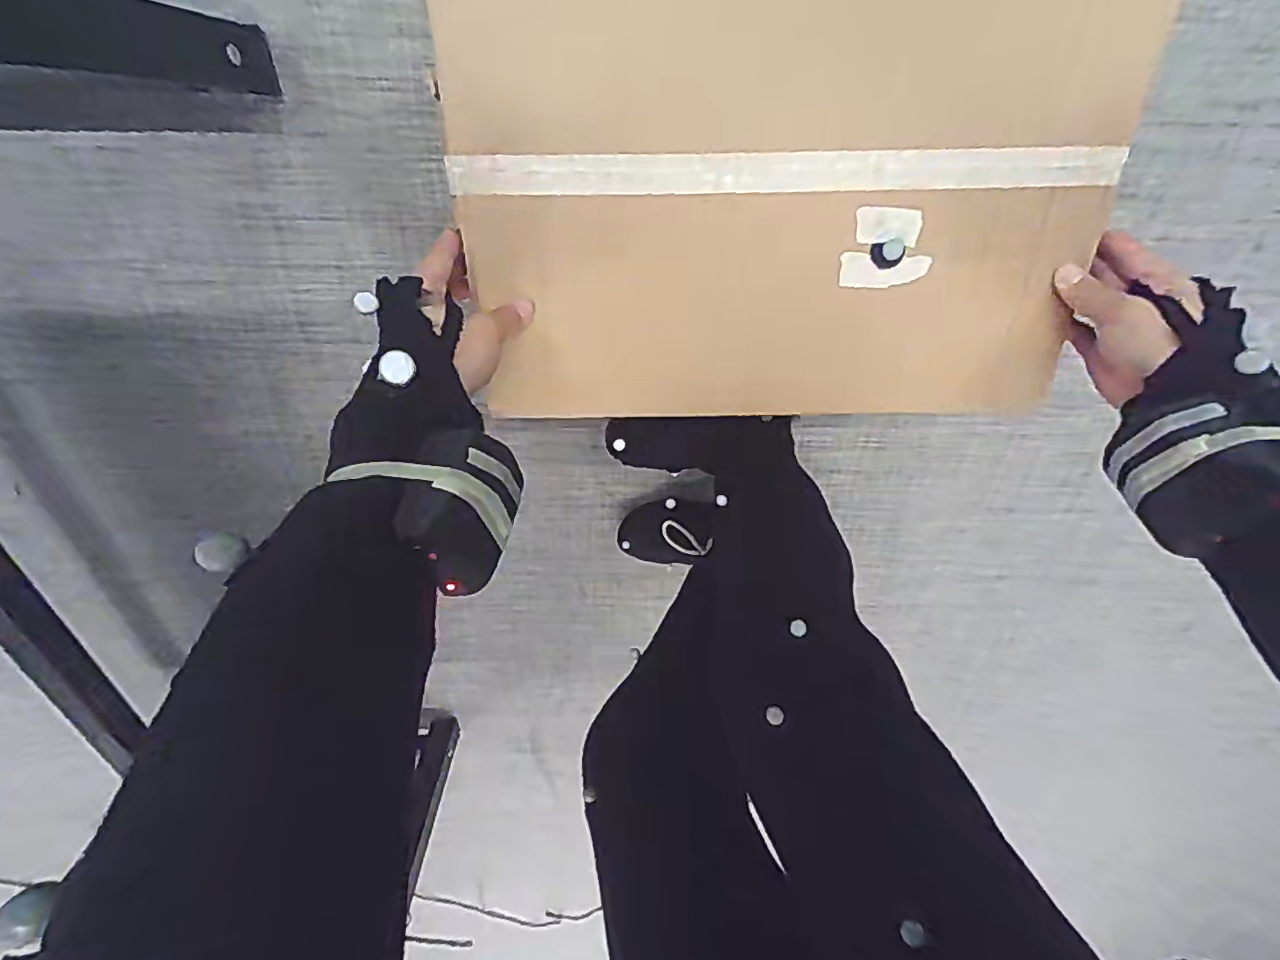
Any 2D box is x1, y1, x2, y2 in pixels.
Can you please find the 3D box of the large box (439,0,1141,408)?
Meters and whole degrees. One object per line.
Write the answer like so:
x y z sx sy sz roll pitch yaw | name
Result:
0.083 -0.266 0.474 0.408 0.320 0.320 -2 118 -1 | large box
